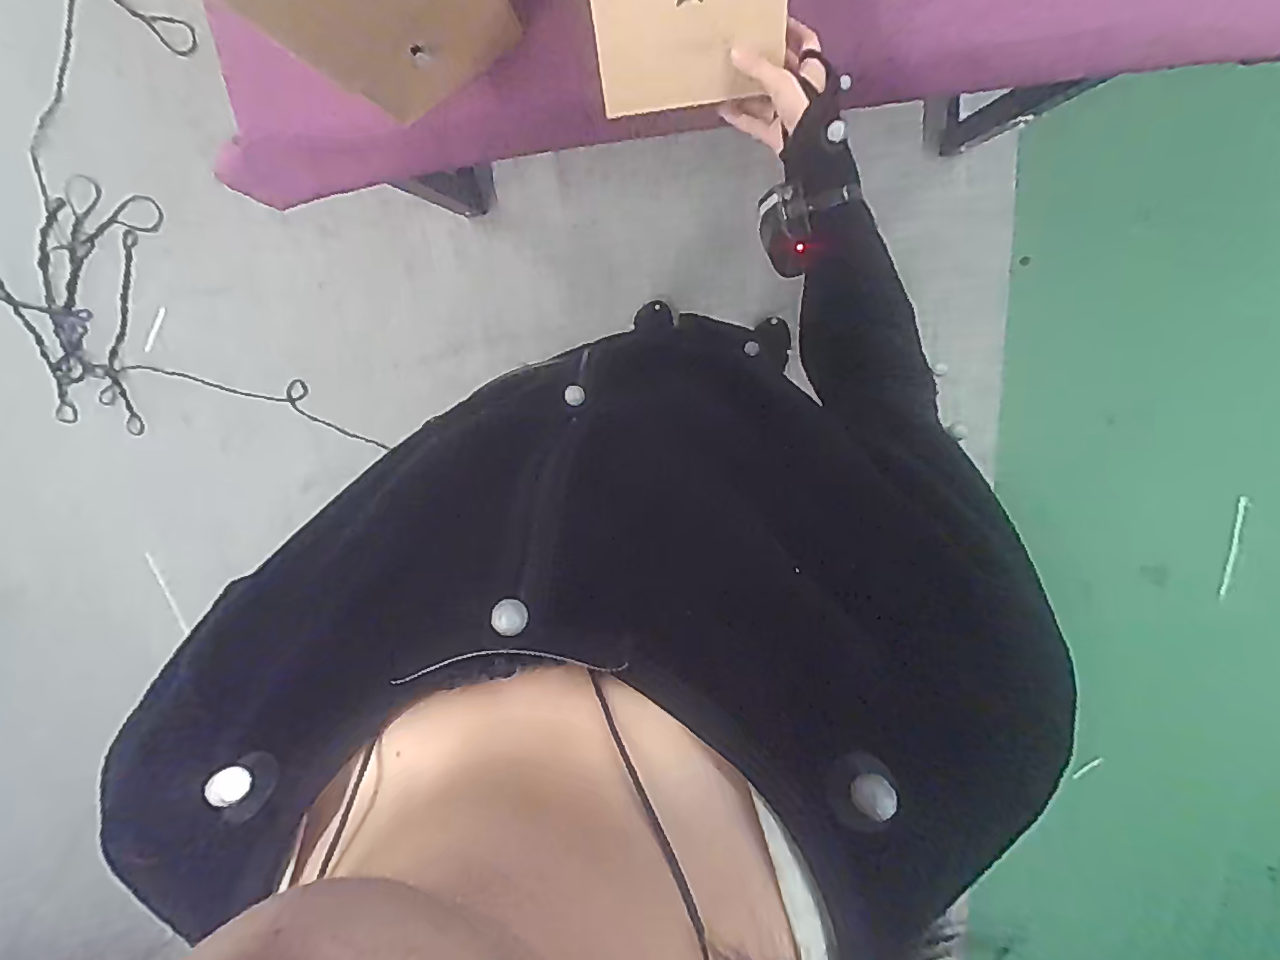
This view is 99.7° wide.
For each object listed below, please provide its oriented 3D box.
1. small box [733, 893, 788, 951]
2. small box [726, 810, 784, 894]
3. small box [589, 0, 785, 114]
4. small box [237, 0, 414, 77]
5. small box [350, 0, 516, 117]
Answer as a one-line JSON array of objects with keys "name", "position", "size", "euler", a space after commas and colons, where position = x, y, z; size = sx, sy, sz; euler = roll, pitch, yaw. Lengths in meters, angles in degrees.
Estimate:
[{"name": "small box", "position": [0.413, 1.486, 1.884], "size": [0.168, 0.176, 0.179], "euler": [-6, 108, 4]}, {"name": "small box", "position": [0.378, 1.236, 1.803], "size": [0.168, 0.176, 0.179], "euler": [-2, 108, 3]}, {"name": "small box", "position": [0.035, -0.465, 0.491], "size": [0.168, 0.176, 0.179], "euler": [-5, 138, 4]}, {"name": "small box", "position": [-0.253, -0.434, 0.368], "size": [0.179, 0.176, 0.168], "euler": [-42, 102, 12]}, {"name": "small box", "position": [-0.249, -0.498, 0.521], "size": [0.179, 0.176, 0.168], "euler": [-30, 104, 11]}]
